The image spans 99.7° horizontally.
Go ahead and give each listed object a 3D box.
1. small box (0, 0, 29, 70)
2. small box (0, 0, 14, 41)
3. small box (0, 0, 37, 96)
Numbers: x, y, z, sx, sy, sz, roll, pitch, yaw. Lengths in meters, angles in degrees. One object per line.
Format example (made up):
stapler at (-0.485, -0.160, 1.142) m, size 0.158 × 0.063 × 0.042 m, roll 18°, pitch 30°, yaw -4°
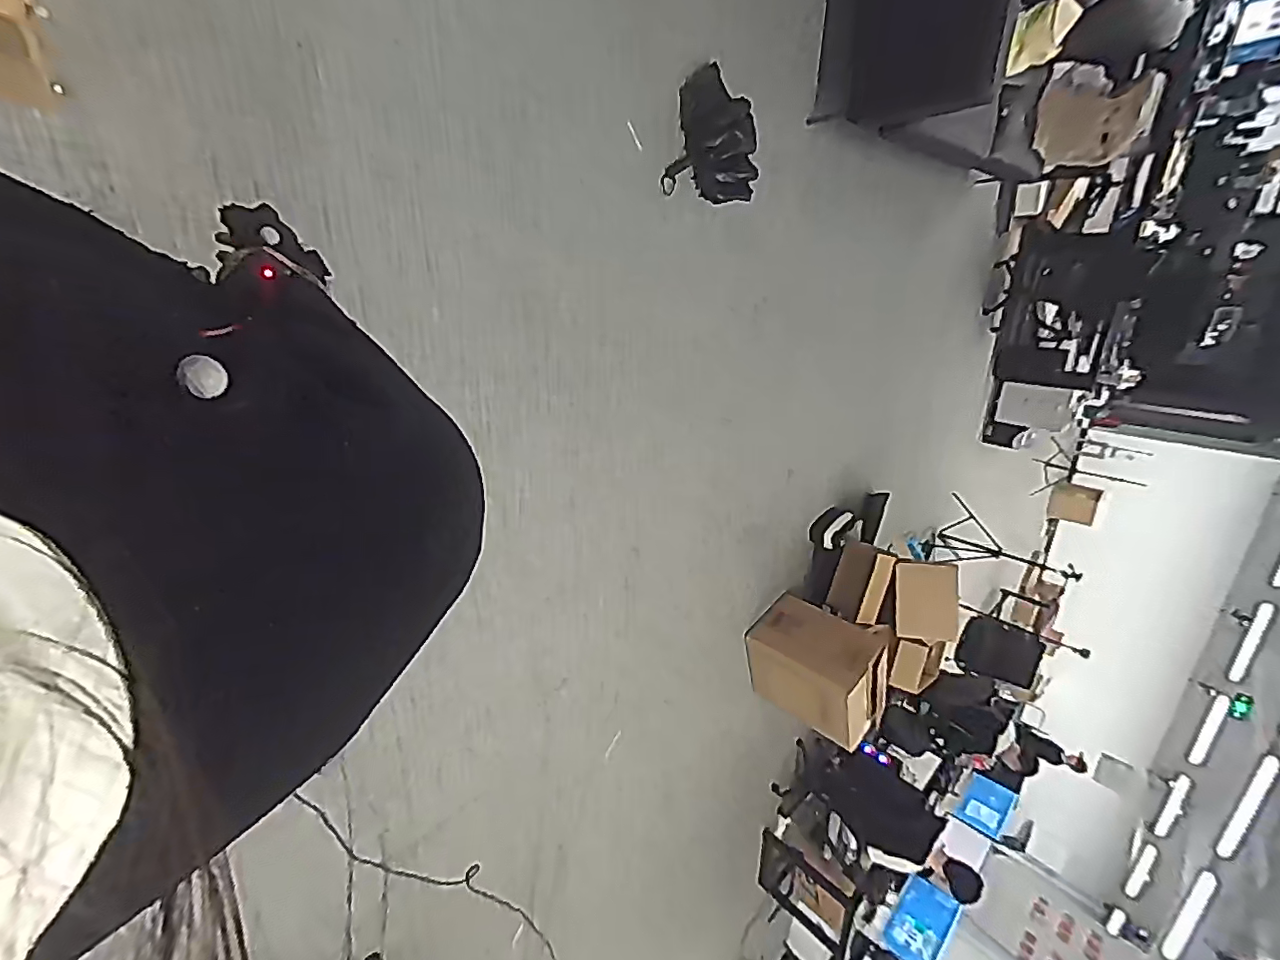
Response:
small box at (-0.882, -0.624, 0.649) m, size 0.179 × 0.176 × 0.168 m, roll -12°, pitch 116°, yaw -41°
small box at (-0.771, -0.577, 0.537) m, size 0.179 × 0.176 × 0.168 m, roll -10°, pitch 111°, yaw -41°
small box at (-0.991, -0.670, 0.759) m, size 0.179 × 0.176 × 0.168 m, roll -10°, pitch 112°, yaw -41°
